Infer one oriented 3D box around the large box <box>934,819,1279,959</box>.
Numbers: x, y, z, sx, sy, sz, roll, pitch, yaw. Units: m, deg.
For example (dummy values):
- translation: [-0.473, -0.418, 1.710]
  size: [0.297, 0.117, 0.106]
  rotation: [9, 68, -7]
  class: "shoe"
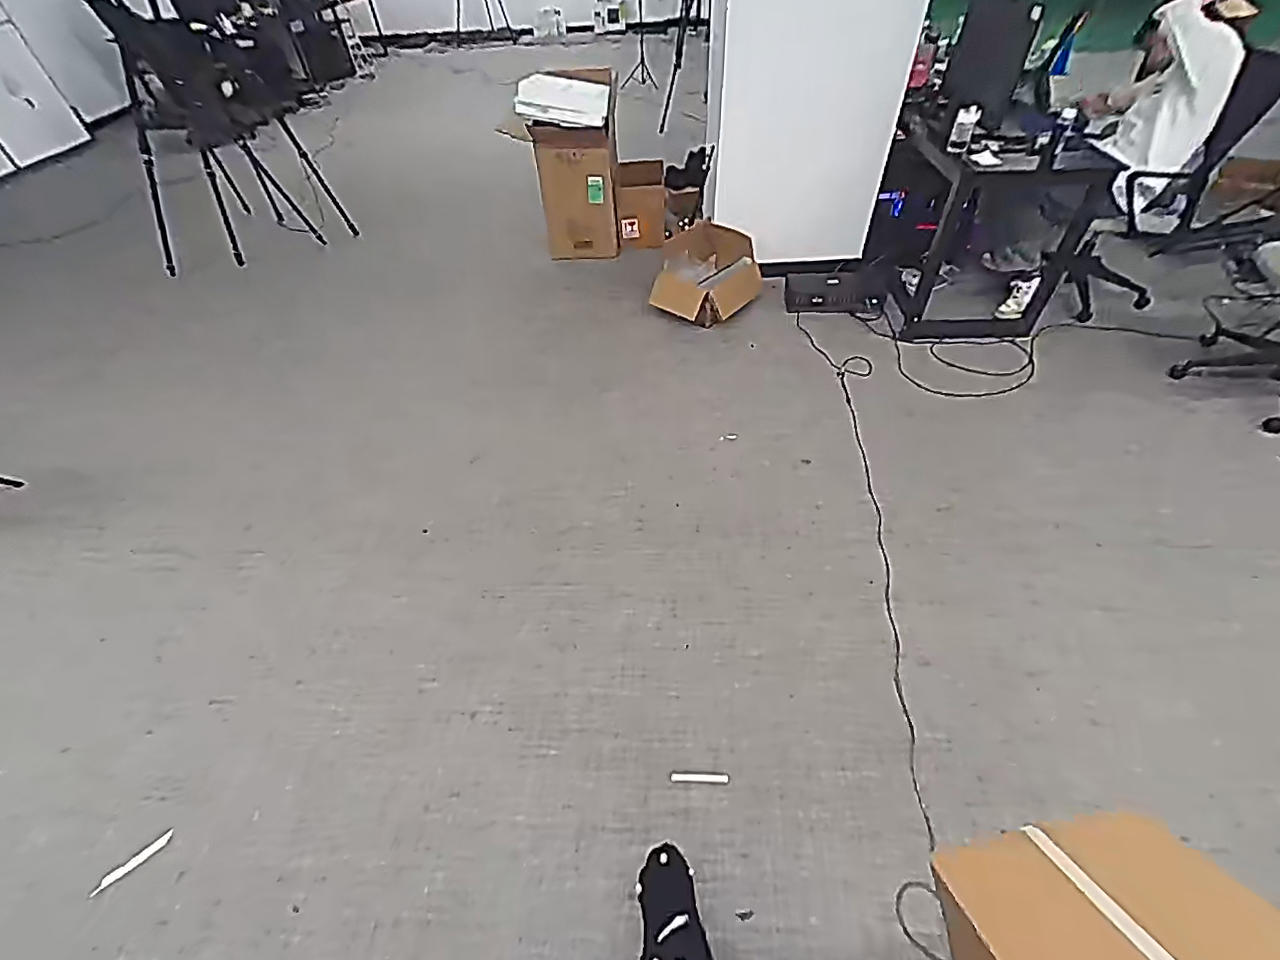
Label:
- translation: [0.611, 0.683, 0.608]
  size: [0.320, 0.408, 0.320]
  rotation: [-15, 91, 3]
  class: "large box"
